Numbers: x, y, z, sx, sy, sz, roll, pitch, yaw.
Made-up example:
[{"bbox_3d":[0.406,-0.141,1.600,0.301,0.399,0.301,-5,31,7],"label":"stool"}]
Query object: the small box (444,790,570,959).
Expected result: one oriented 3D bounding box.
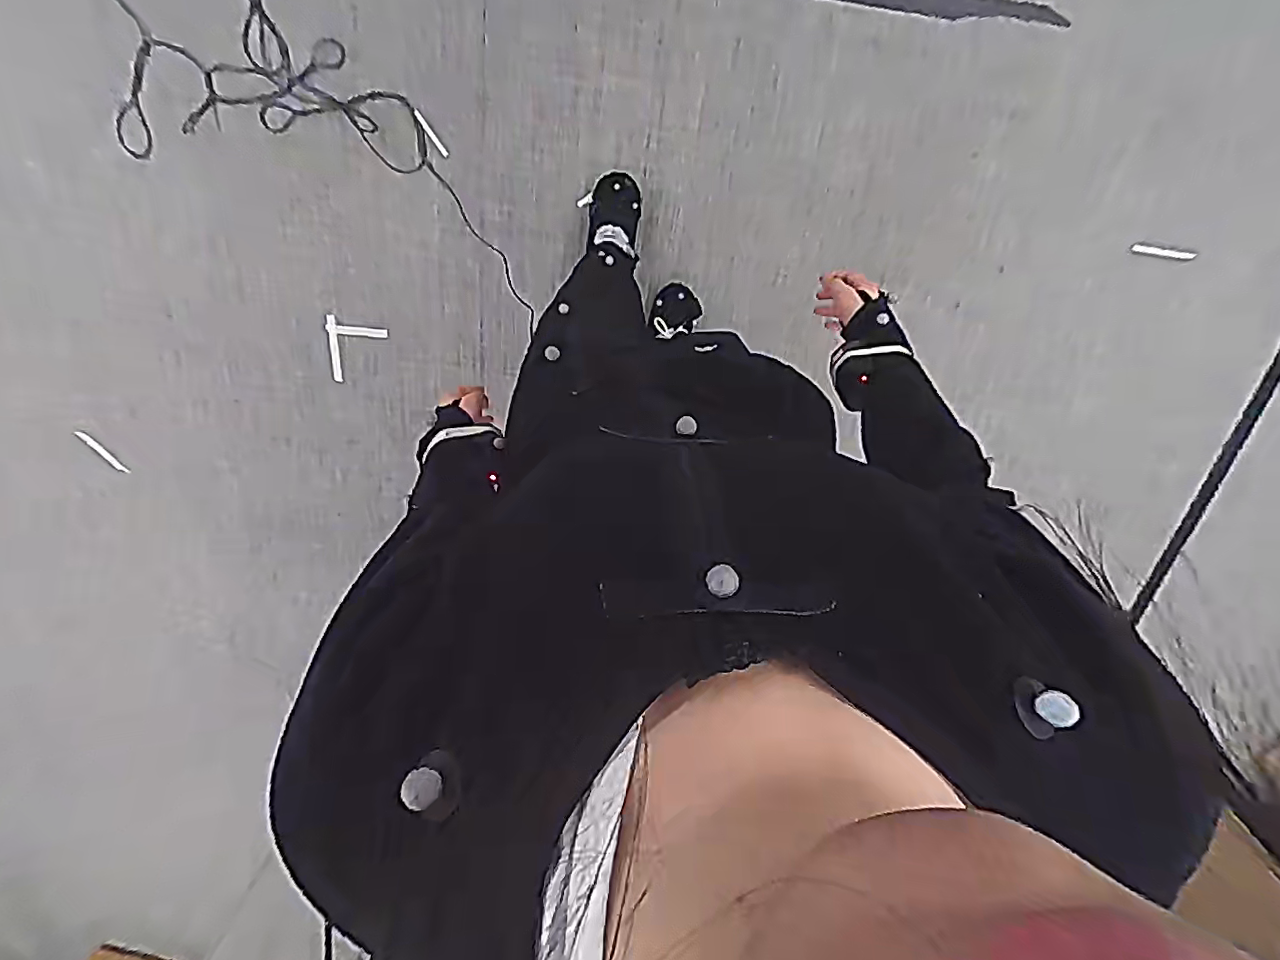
[{"bbox_3d":[-0.219,0.668,0.922,0.168,0.176,0.179,11,112,-3],"label":"small box"}]
